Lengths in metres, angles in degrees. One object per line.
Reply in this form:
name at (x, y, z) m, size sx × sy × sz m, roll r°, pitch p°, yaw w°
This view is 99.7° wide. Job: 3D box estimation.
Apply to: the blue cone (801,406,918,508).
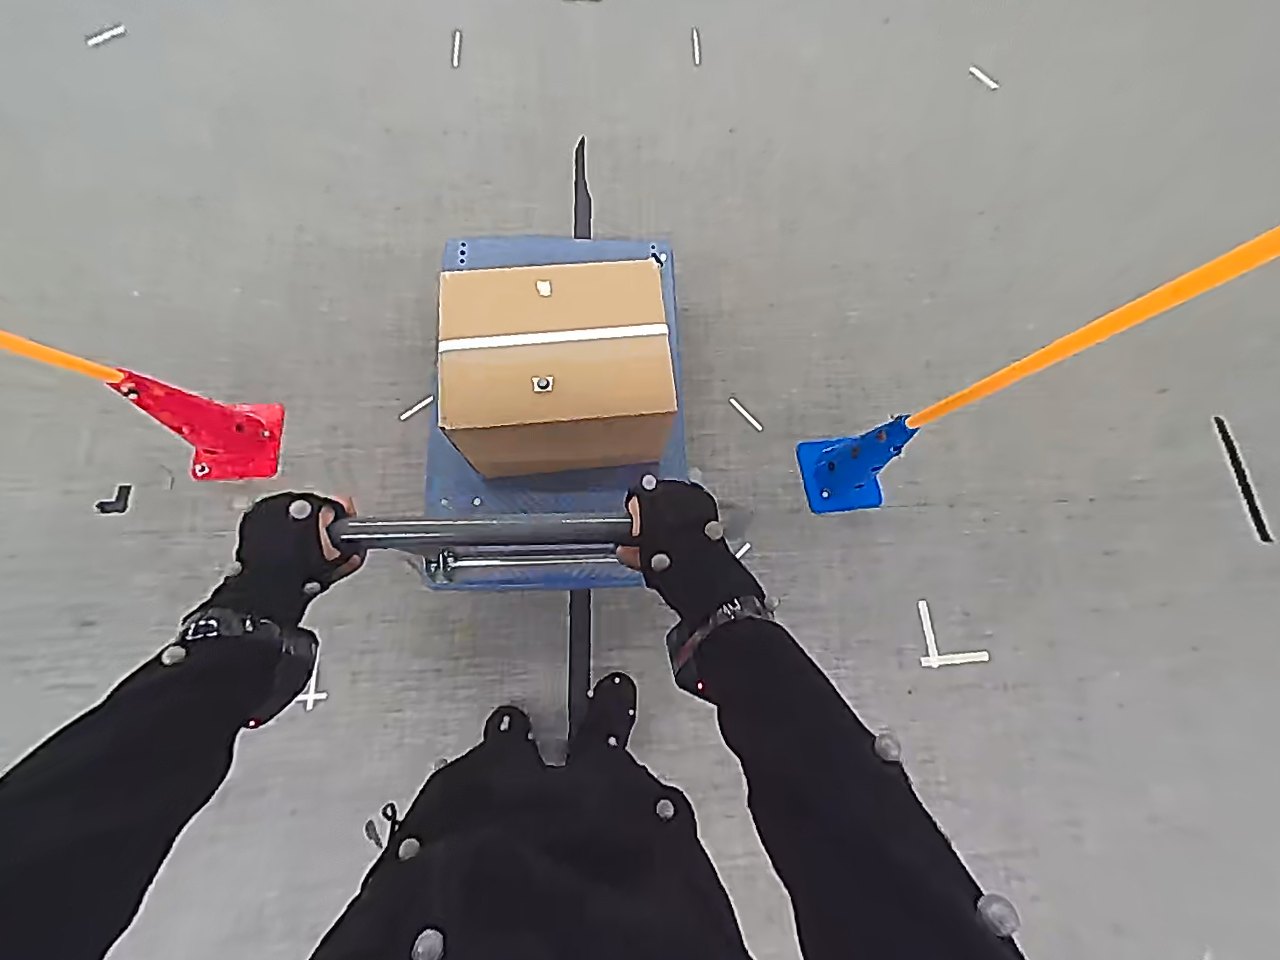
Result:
blue cone at (0.543, -0.071, 1.278) m, size 0.193 × 0.380 × 0.192 m, roll -5°, pitch 73°, yaw -5°
